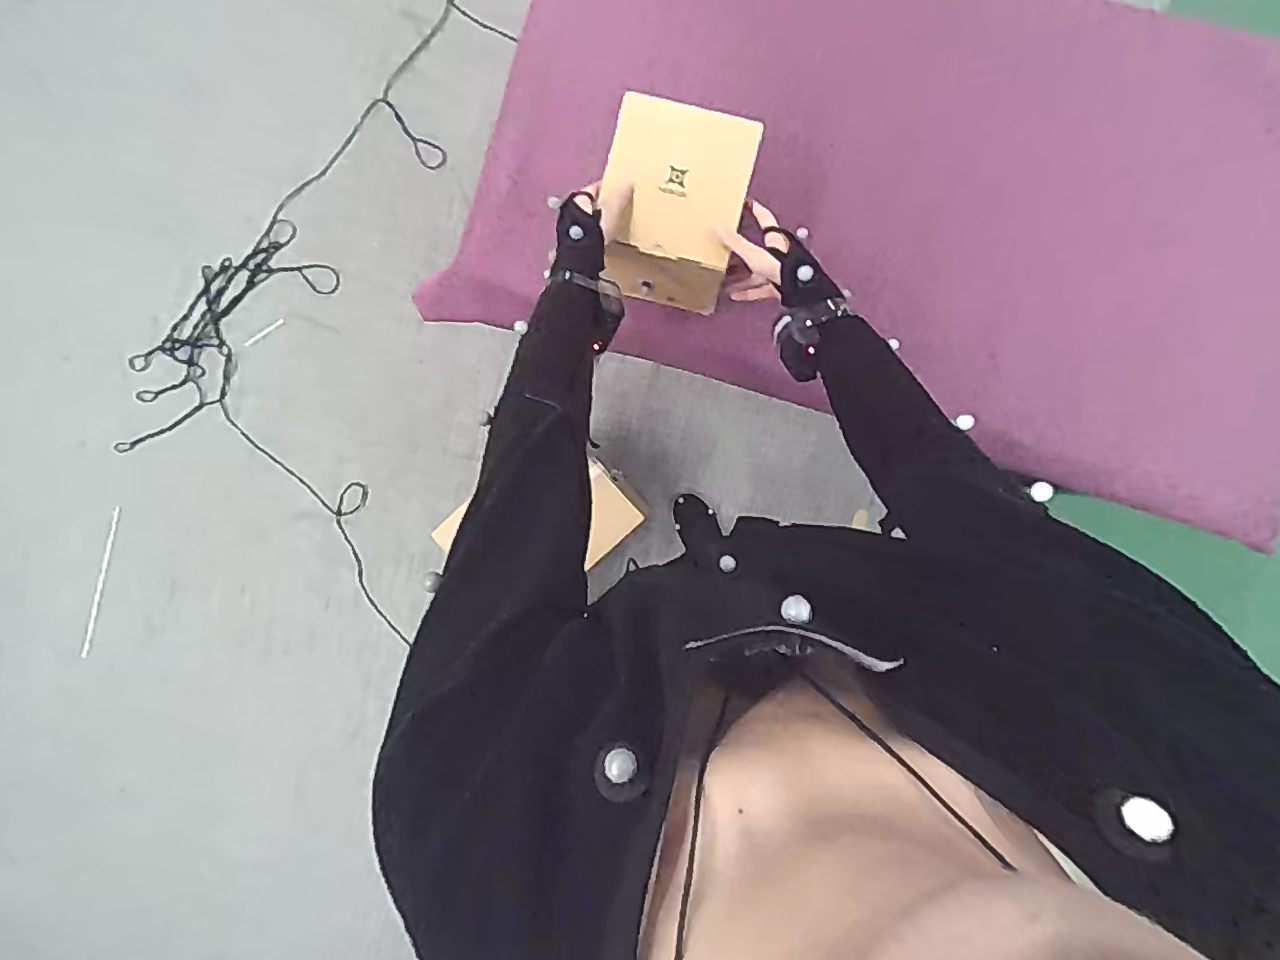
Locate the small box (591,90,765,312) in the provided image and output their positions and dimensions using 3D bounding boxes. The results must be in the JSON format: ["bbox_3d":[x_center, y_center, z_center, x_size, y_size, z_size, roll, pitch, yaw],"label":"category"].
[{"bbox_3d":[0.043,-0.341,0.694,0.168,0.176,0.179,15,91,1],"label":"small box"}]
